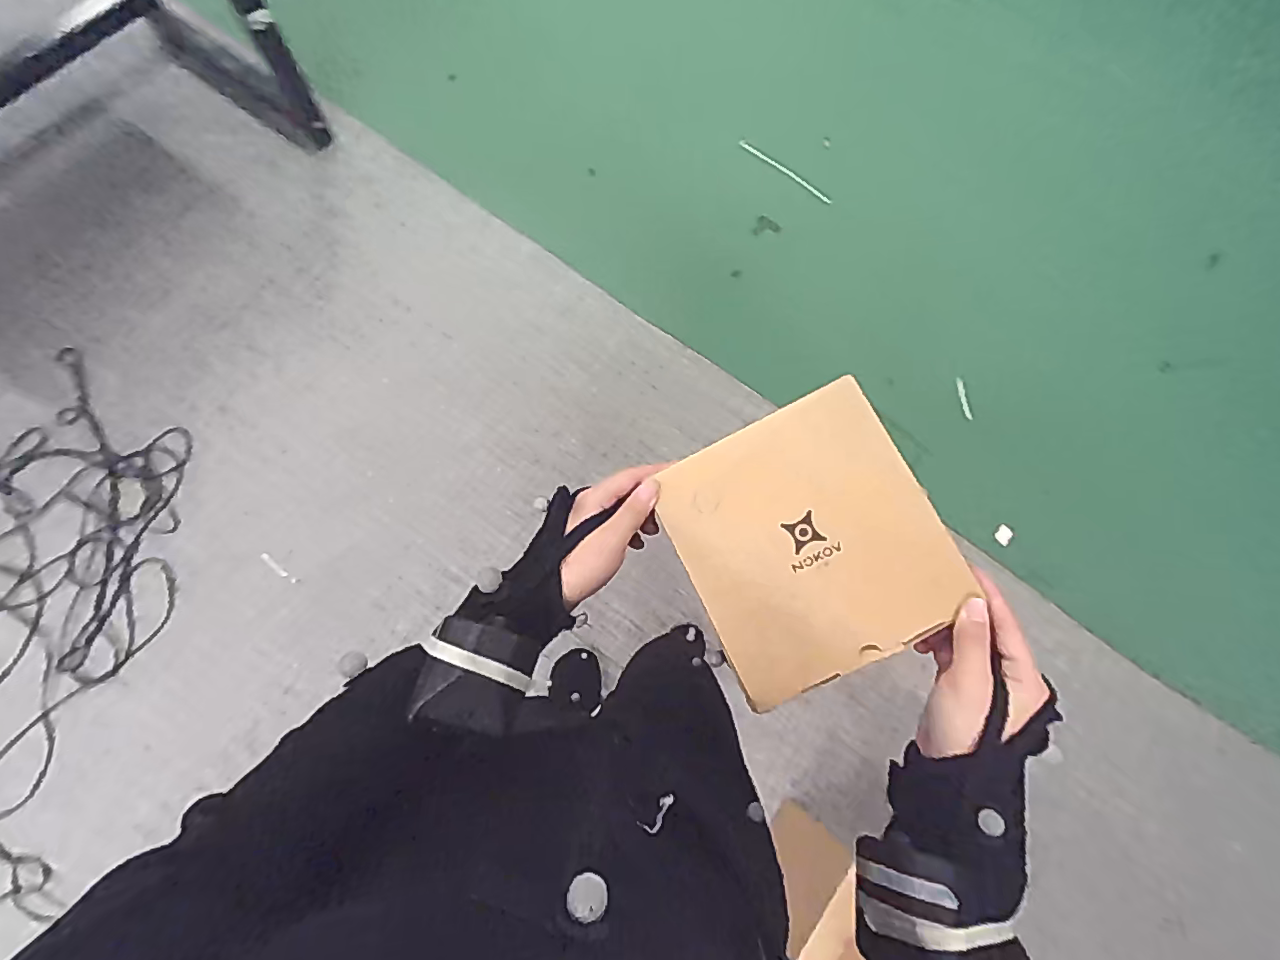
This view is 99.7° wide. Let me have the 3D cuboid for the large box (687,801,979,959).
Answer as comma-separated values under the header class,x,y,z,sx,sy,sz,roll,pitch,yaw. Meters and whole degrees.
class,x,y,z,sx,sy,sz,roll,pitch,yaw
large box,0.324,0.887,0.957,0.320,0.320,0.408,39,76,5
